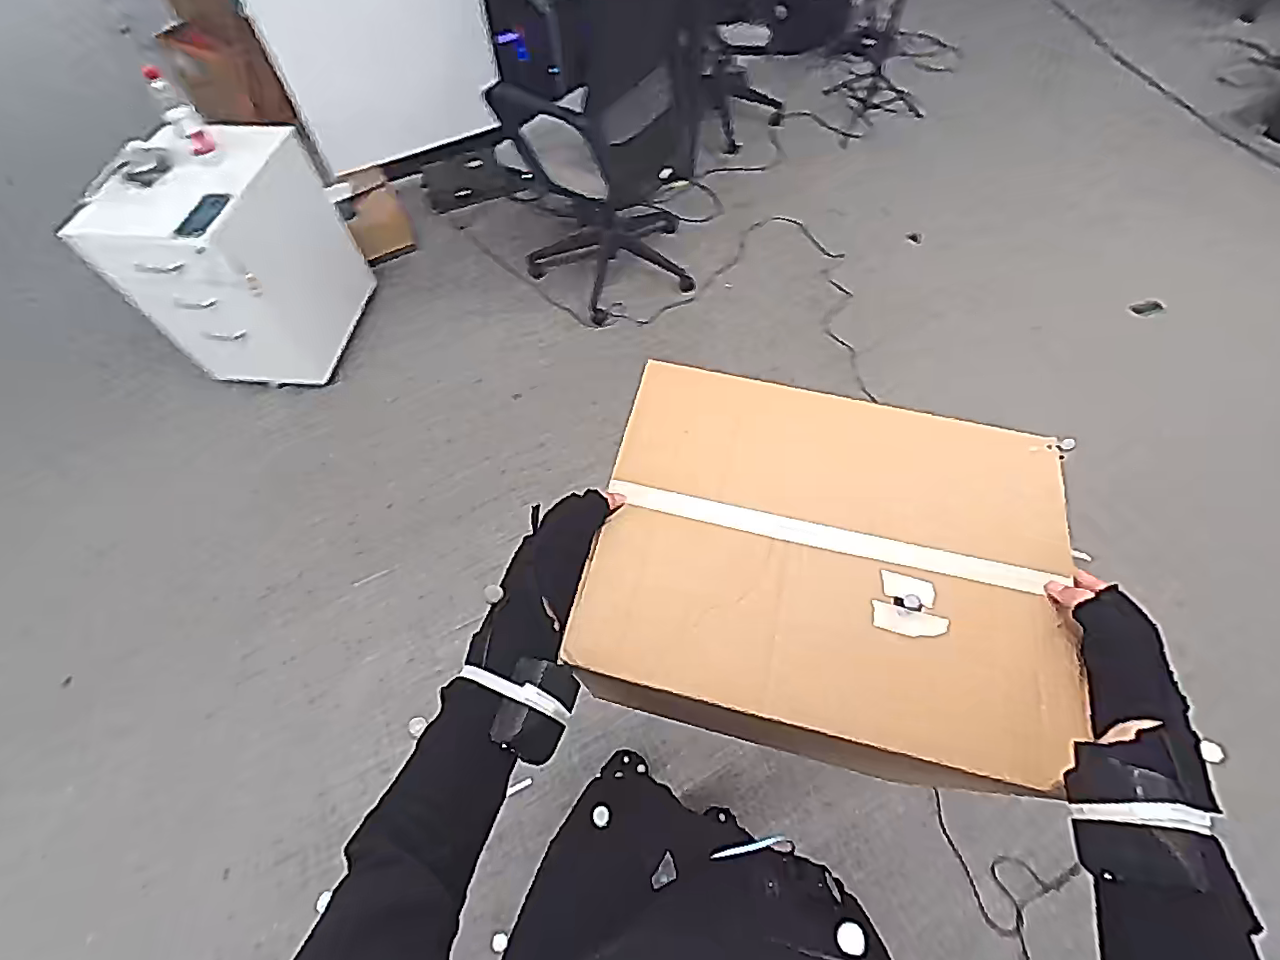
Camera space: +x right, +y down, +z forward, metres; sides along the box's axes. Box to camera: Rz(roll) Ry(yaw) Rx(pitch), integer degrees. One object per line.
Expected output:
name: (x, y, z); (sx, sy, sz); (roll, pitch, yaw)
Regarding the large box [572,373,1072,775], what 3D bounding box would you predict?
large box: (0.164, 0.121, 0.624); (0.408, 0.320, 0.320); (12, 65, 5)
